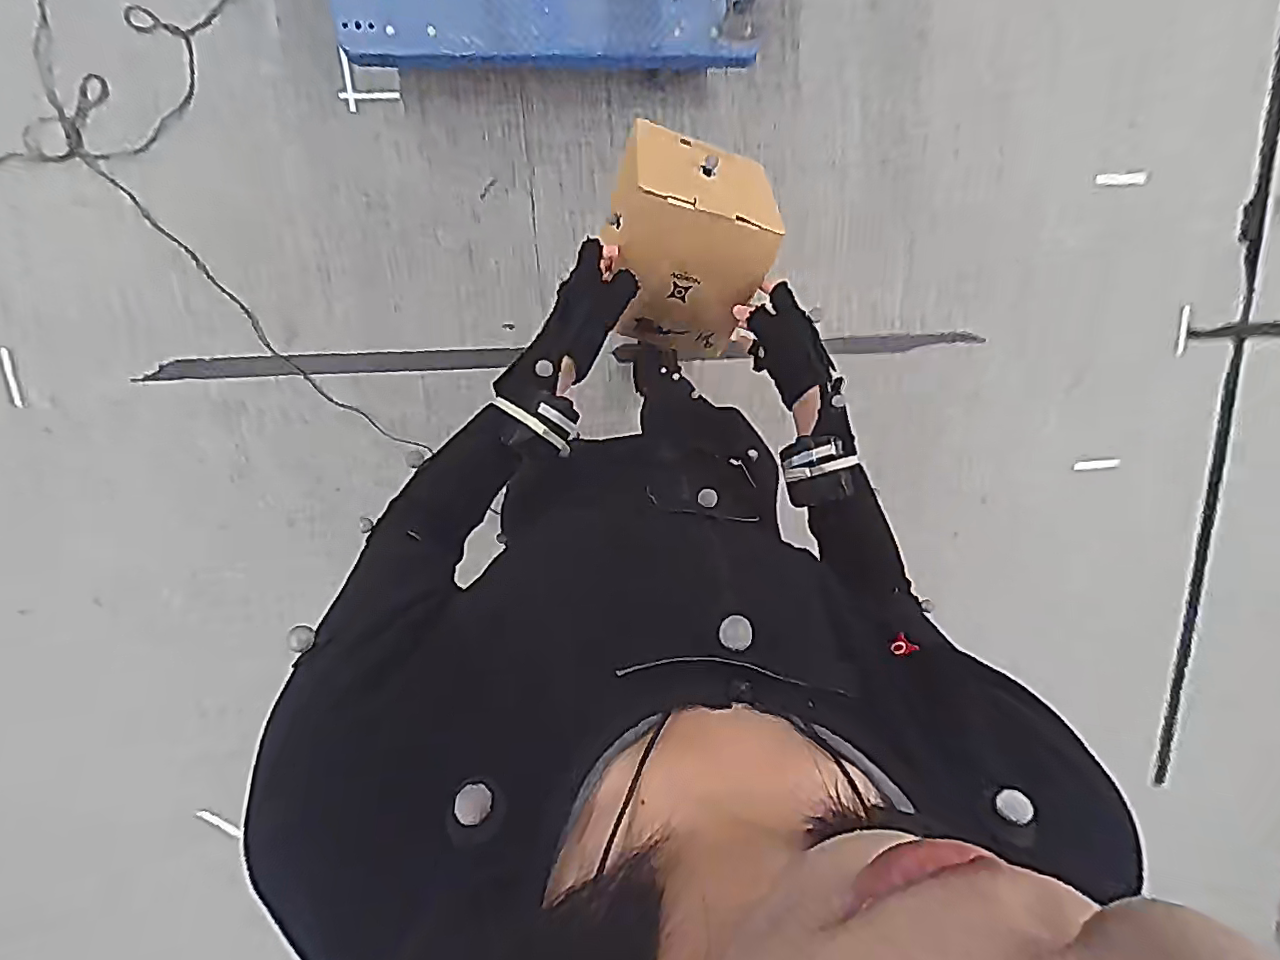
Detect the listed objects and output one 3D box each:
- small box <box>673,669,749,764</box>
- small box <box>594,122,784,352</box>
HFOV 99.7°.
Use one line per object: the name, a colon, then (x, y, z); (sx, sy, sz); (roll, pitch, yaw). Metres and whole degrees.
small box: (0.202, 0.695, 1.607); (0.179, 0.176, 0.168); (-17, 104, -4)
small box: (0.044, -0.290, 0.650); (0.168, 0.176, 0.179); (10, 140, -15)
